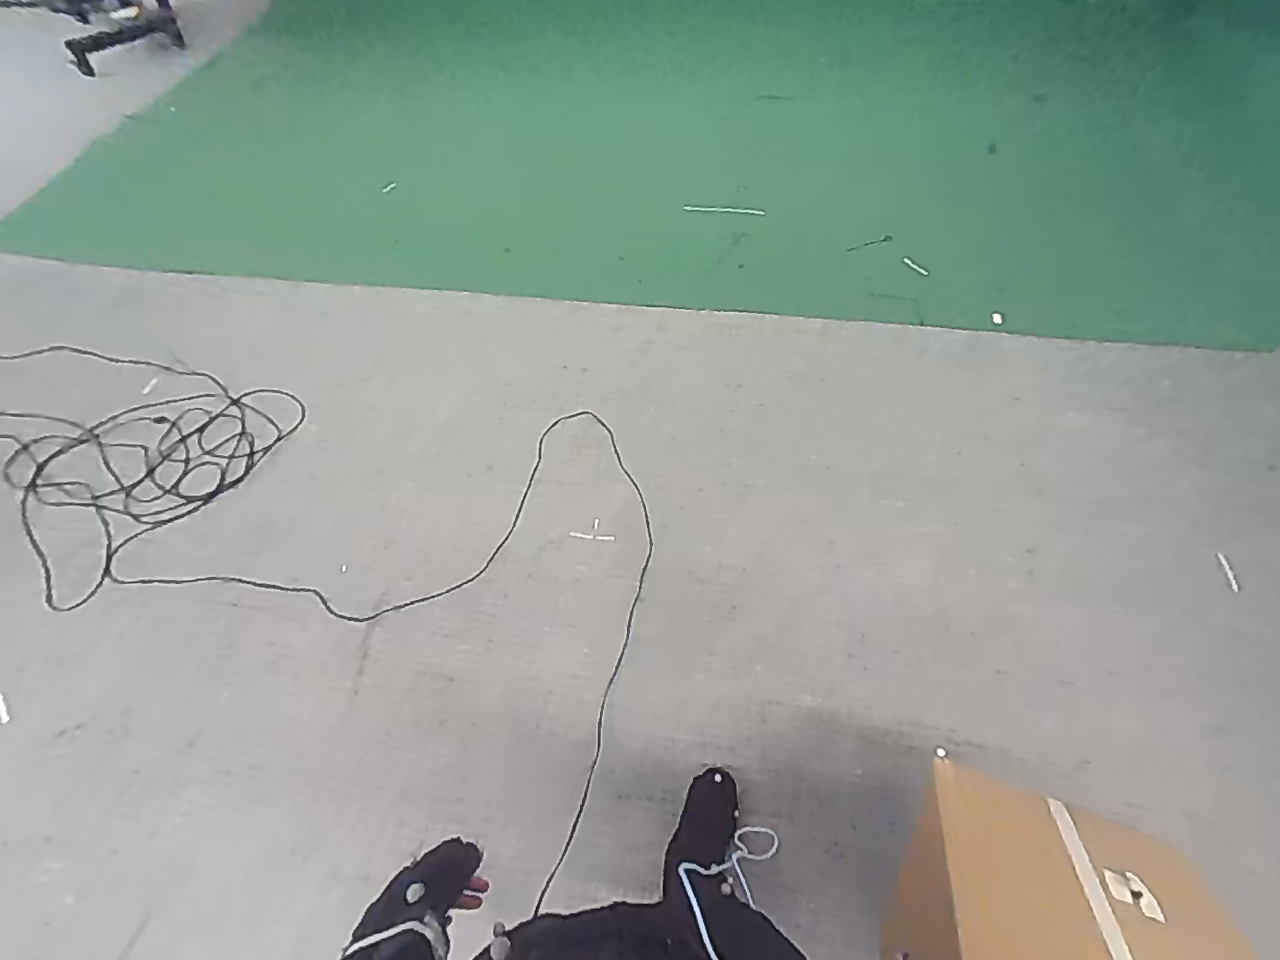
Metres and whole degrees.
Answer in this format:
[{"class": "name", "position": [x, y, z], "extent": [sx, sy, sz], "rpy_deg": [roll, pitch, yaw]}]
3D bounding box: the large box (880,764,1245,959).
[{"class": "large box", "position": [0.480, 0.641, 0.627], "extent": [0.320, 0.408, 0.320], "rpy_deg": [15, 104, 20]}]
